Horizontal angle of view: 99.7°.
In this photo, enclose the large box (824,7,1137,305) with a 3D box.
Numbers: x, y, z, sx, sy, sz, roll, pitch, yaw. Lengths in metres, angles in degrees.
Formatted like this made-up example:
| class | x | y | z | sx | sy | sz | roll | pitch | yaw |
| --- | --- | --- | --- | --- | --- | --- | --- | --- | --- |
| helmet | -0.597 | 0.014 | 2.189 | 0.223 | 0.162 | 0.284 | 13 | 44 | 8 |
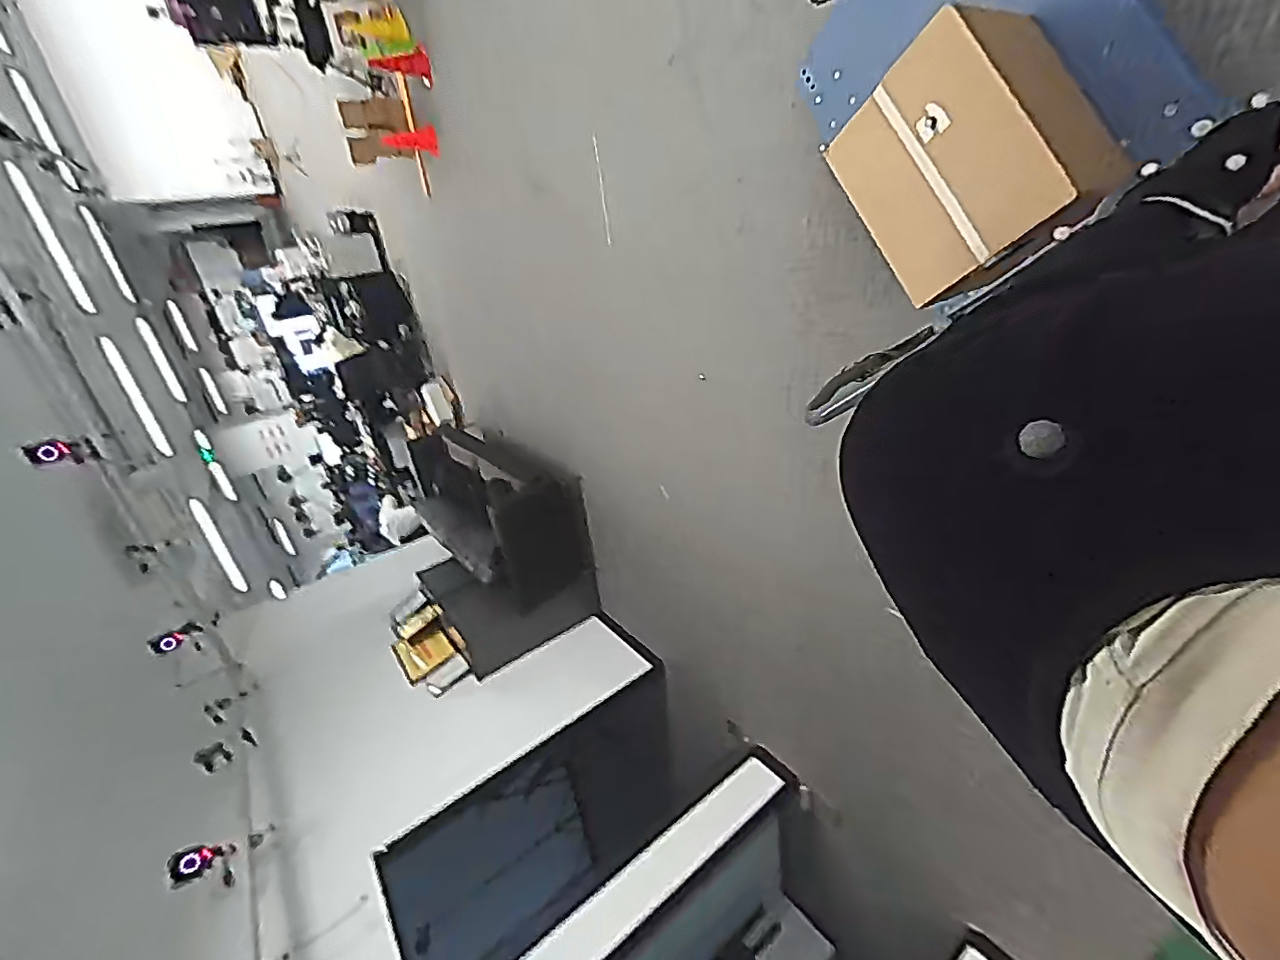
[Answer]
| class | x | y | z | sx | sy | sz | roll | pitch | yaw |
| --- | --- | --- | --- | --- | --- | --- | --- | --- | --- |
| large box | 0.668 | -0.631 | 1.091 | 0.408 | 0.320 | 0.320 | 63 | 149 | 7 |
